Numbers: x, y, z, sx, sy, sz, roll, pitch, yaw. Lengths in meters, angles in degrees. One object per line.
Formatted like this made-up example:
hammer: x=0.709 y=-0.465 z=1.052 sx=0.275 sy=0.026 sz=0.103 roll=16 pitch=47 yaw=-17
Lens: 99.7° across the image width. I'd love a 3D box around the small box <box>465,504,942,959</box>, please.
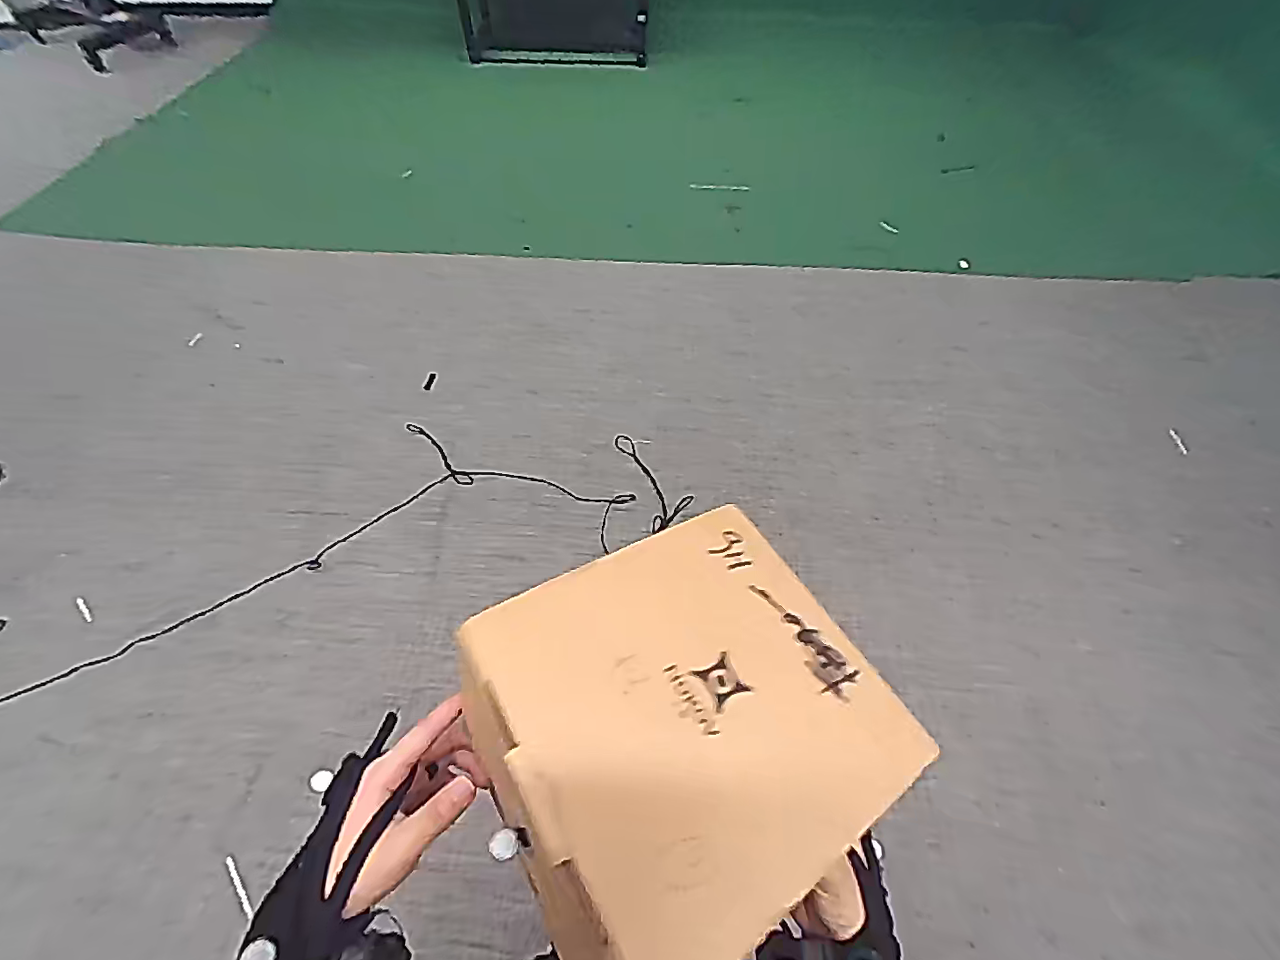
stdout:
small box: x=0.016 y=0.148 z=0.311 sx=0.179 sy=0.176 sz=0.168 roll=-20 pitch=59 yaw=-31
